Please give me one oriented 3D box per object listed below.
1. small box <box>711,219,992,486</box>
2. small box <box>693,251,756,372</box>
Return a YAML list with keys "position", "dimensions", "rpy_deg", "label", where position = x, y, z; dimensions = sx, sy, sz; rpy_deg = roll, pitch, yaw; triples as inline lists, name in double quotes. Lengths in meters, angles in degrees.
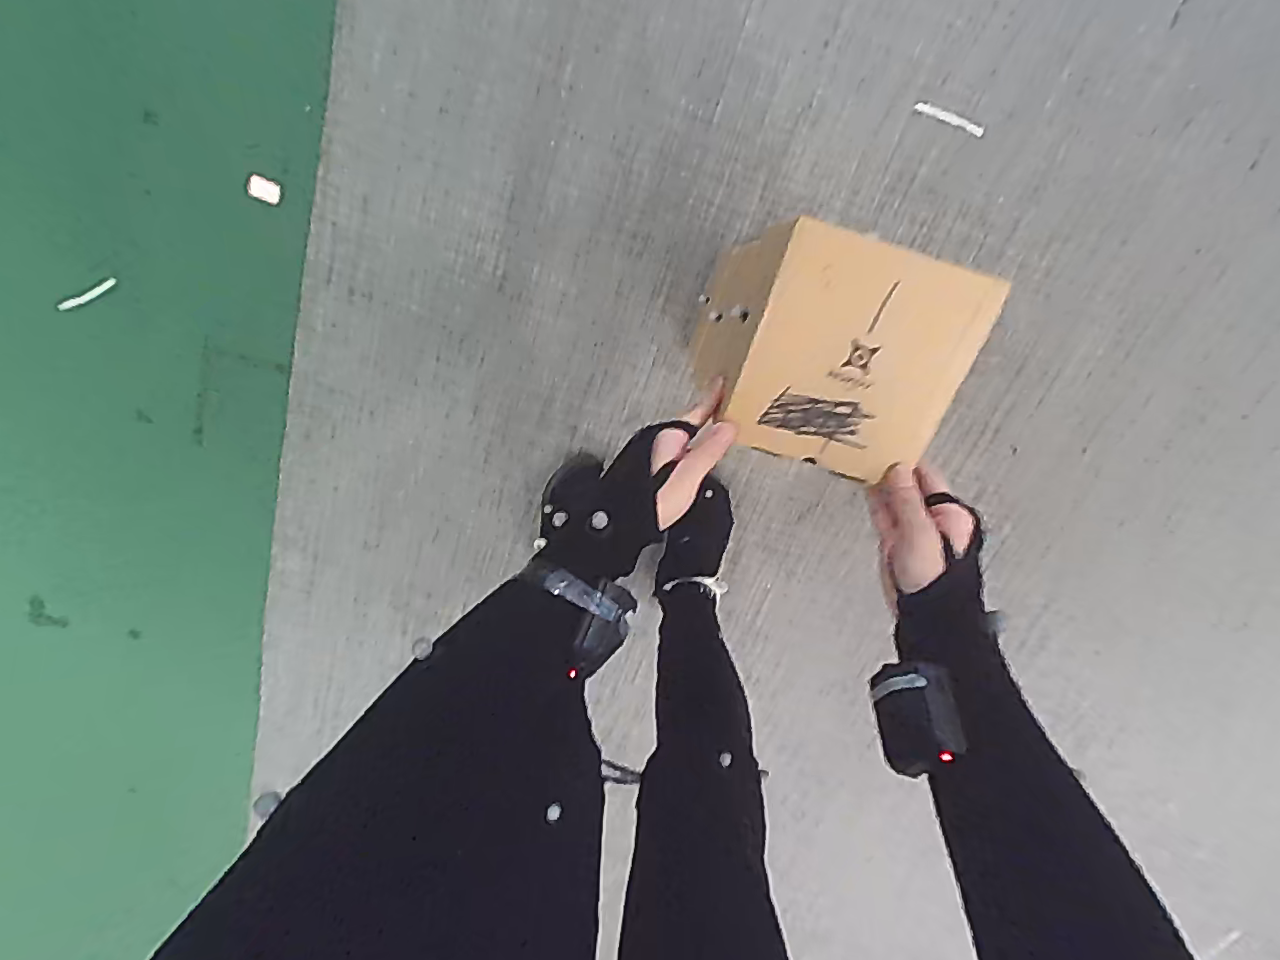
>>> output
- position: [0.172, -0.123, 0.510]
  dimensions: [0.168, 0.176, 0.179]
  rpy_deg: [18, 112, -3]
  label: "small box"
- position: [0.188, -0.235, 0.830]
  dimensions: [0.179, 0.176, 0.168]
  rpy_deg: [18, 110, -5]
  label: "small box"
